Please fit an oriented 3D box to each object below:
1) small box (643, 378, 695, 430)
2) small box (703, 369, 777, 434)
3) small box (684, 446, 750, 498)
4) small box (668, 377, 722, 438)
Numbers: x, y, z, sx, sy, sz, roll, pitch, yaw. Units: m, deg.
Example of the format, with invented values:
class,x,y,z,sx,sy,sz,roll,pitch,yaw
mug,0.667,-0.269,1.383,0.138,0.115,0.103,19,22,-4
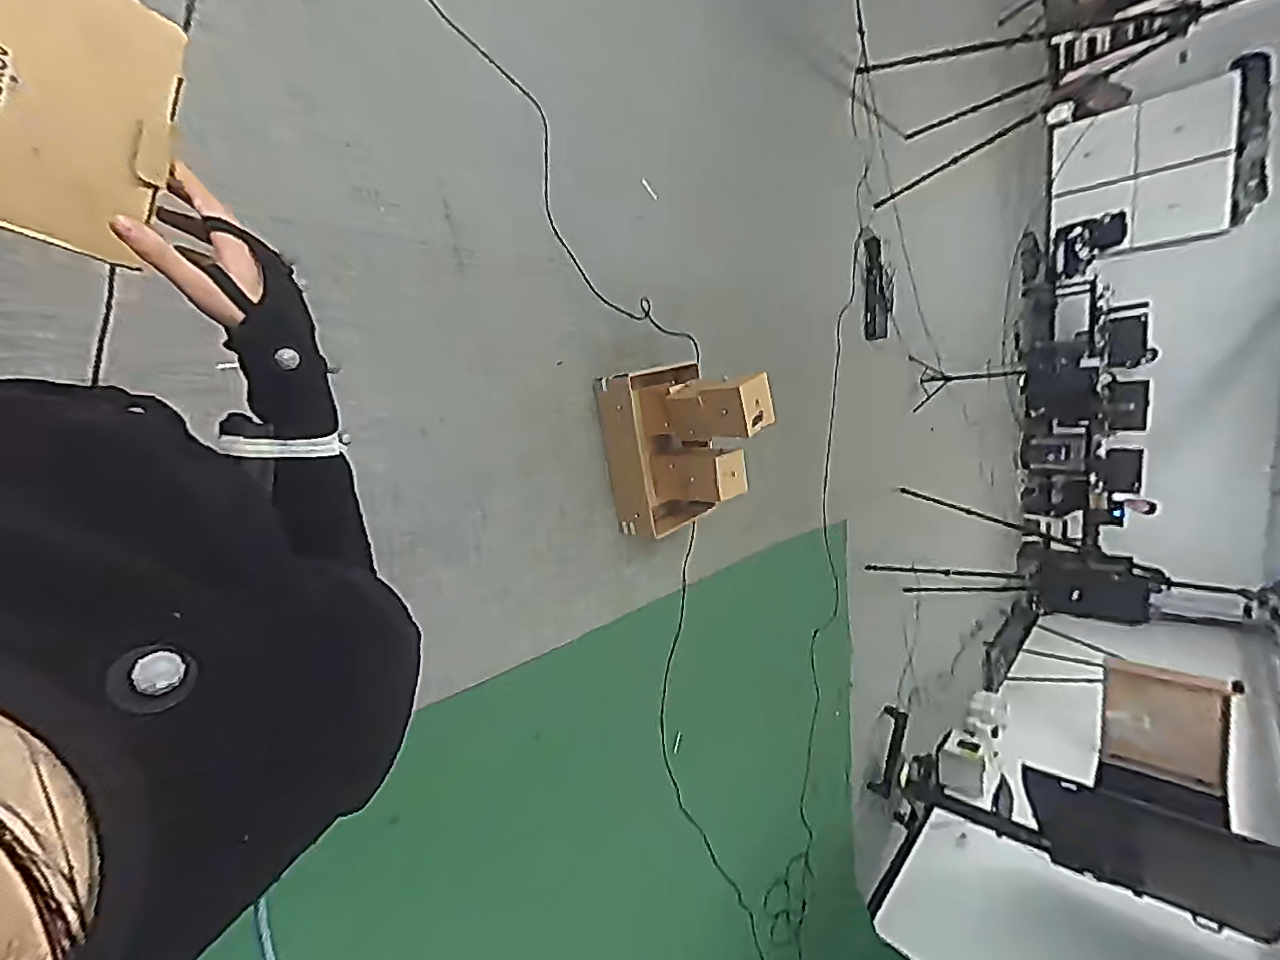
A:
class,x,y,z,sx,sy,sz,roll,pitch,yaw
small box,0.128,-0.292,2.093,0.168,0.176,0.179,-21,109,-40
small box,0.339,-0.268,1.844,0.168,0.176,0.179,-32,115,-37
small box,0.289,-0.035,2.036,0.179,0.176,0.168,-19,105,-41
small box,0.230,-0.268,1.967,0.168,0.176,0.179,-39,119,-34
